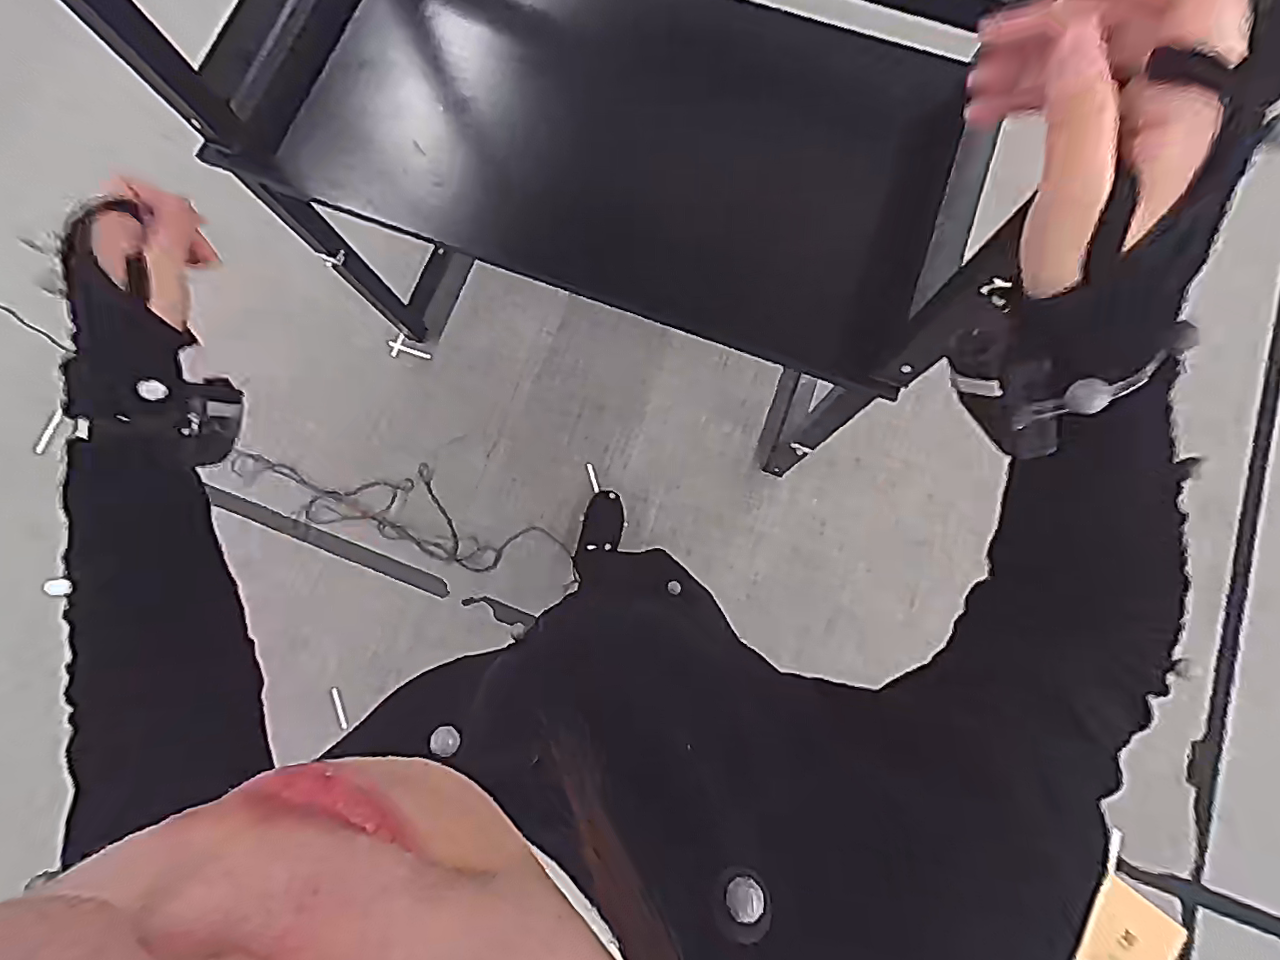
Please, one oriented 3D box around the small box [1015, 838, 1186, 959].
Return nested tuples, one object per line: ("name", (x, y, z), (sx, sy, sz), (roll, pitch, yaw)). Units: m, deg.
("small box", (0.919, 0.884, 1.099), (0.168, 0.176, 0.179), (38, 83, 8))
